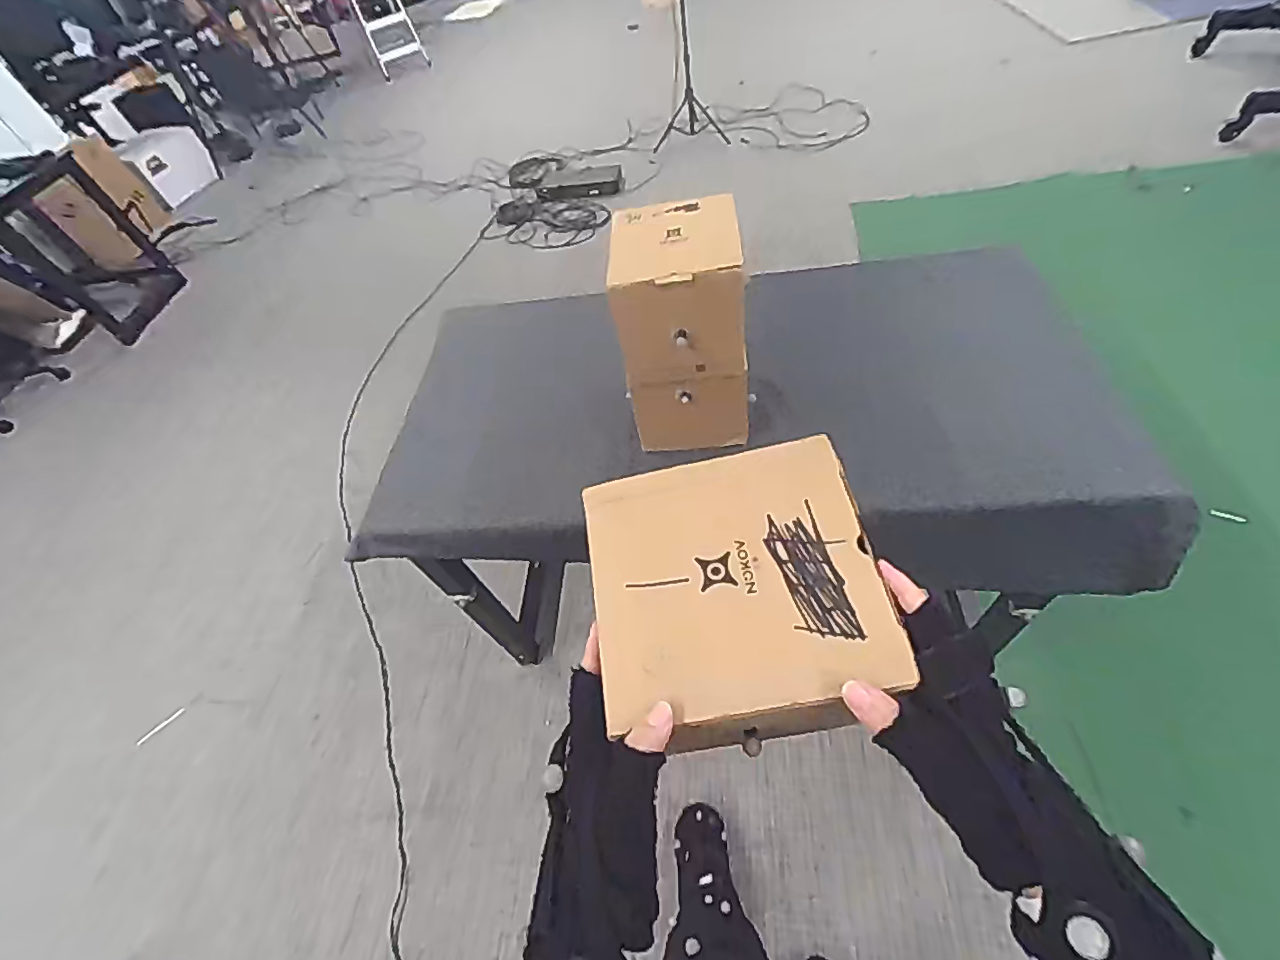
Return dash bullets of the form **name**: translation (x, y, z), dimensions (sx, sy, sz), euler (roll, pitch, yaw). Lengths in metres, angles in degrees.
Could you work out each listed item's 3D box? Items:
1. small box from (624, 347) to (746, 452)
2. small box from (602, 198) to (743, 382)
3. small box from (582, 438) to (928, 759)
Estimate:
- **small box**: translation (0.078, -0.158, 0.875), dimensions (0.179, 0.176, 0.168), euler (-3, 54, 8)
- **small box**: translation (0.051, -0.250, 0.742), dimensions (0.168, 0.176, 0.179), euler (-4, 54, 9)
- **small box**: translation (0.068, 0.097, 0.400), dimensions (0.179, 0.176, 0.168), euler (-14, 59, 1)
